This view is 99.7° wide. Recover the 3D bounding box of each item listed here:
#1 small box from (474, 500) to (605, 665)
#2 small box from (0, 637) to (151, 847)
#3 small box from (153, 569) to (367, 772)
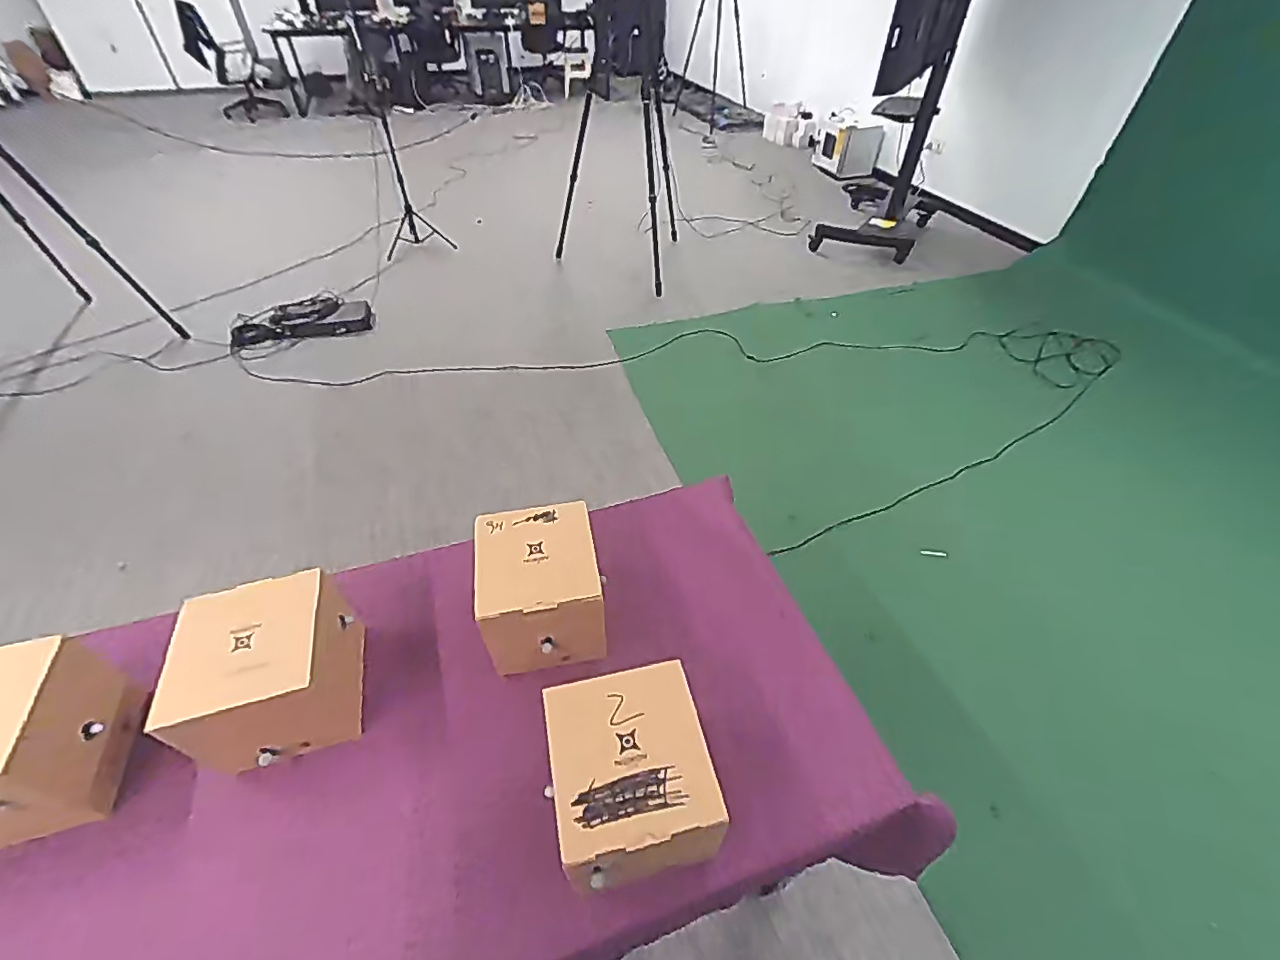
[{"bbox_3d":[-0.147,0.159,0.810,0.168,0.176,0.179,-8,47,-8],"label":"small box"},{"bbox_3d":[-0.751,0.320,0.648,0.179,0.176,0.168,-13,47,-13],"label":"small box"},{"bbox_3d":[-0.481,0.252,0.720,0.168,0.176,0.179,-13,47,-12],"label":"small box"}]
